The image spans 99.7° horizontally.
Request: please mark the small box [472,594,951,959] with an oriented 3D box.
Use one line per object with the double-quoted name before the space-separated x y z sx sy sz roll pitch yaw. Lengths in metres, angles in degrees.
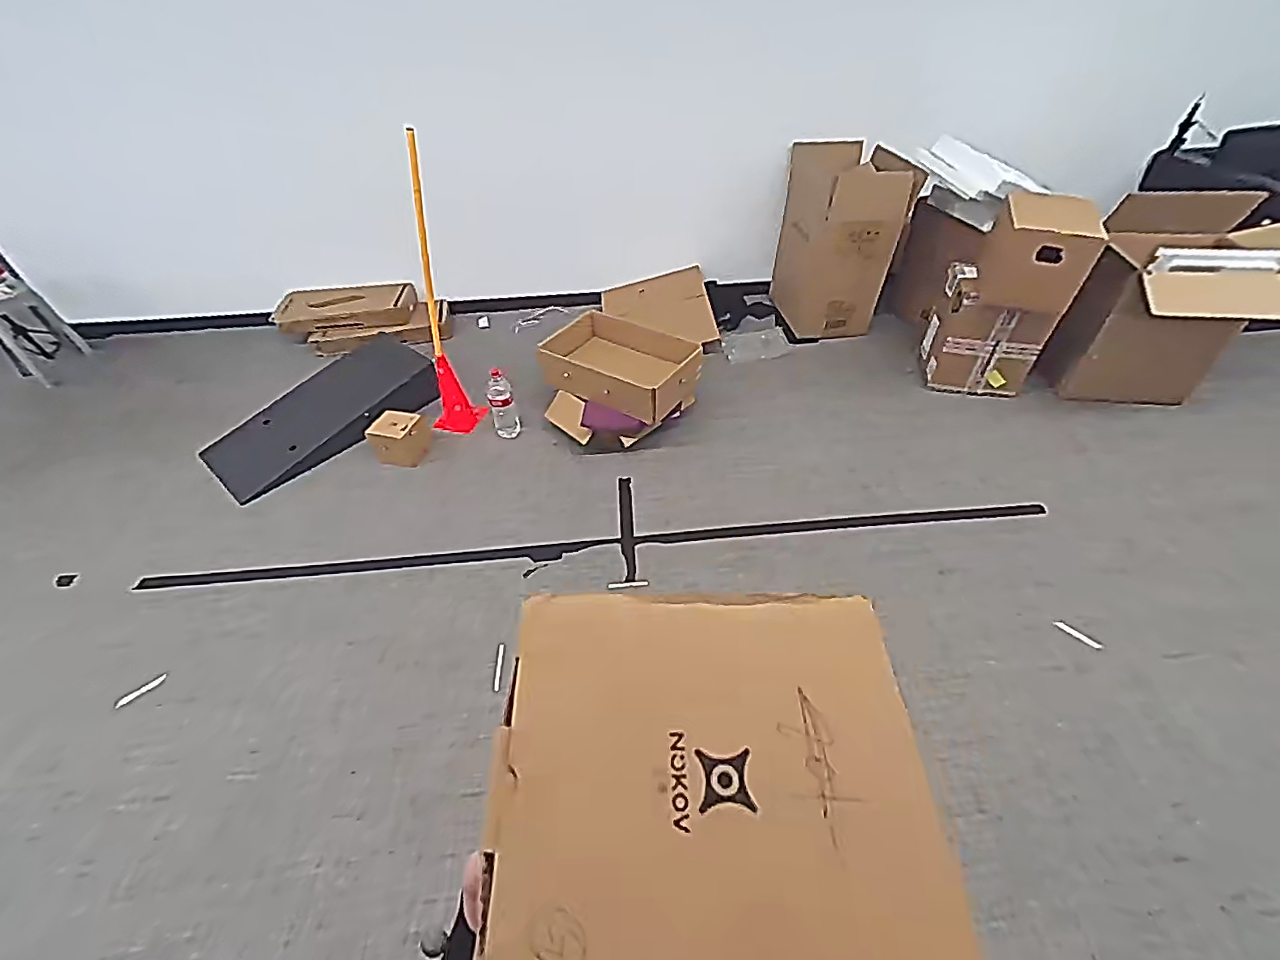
"small box" 0.024 0.175 0.295 0.179 0.176 0.168 1 52 -3
